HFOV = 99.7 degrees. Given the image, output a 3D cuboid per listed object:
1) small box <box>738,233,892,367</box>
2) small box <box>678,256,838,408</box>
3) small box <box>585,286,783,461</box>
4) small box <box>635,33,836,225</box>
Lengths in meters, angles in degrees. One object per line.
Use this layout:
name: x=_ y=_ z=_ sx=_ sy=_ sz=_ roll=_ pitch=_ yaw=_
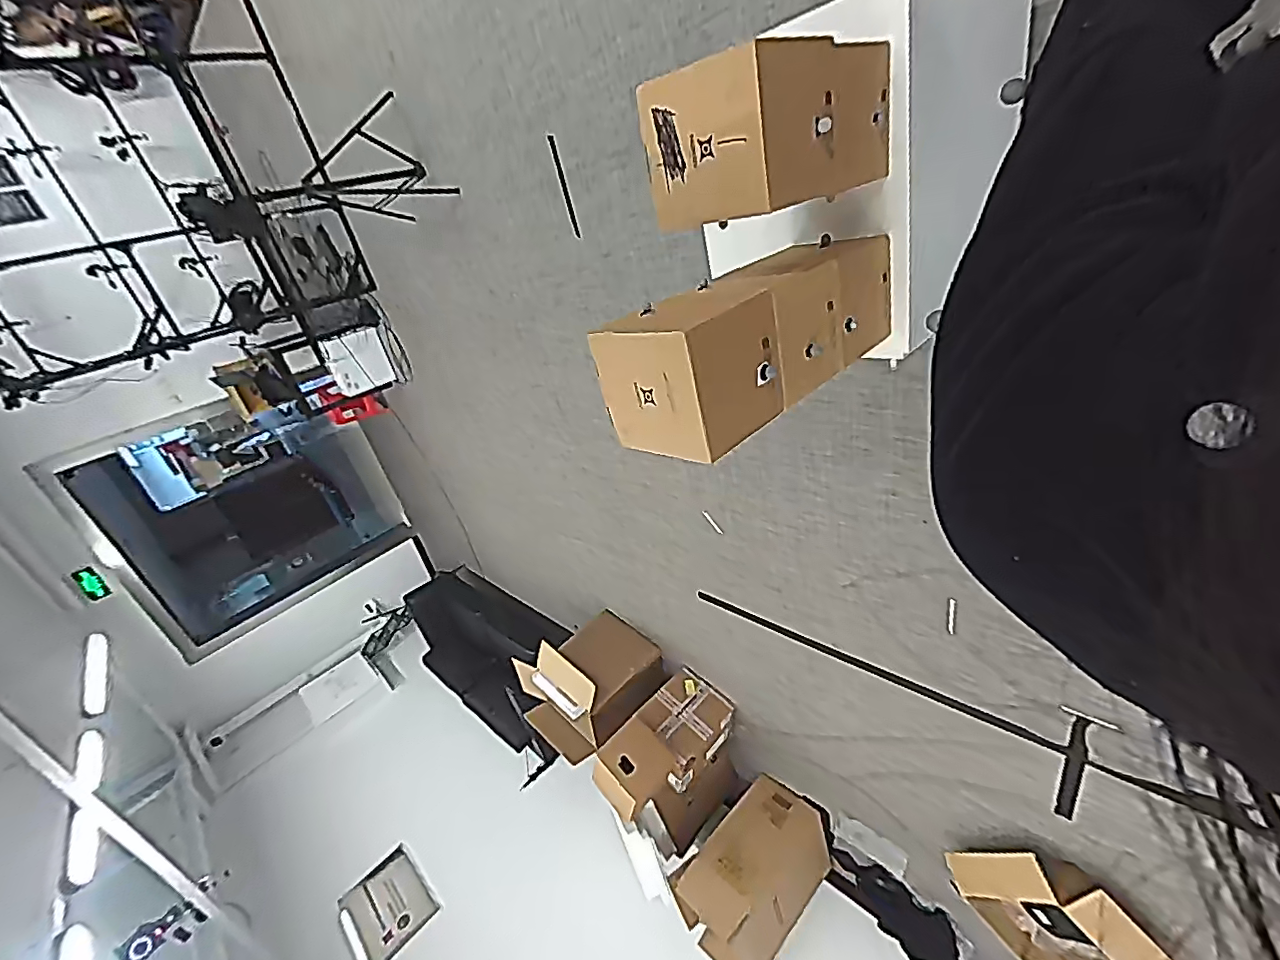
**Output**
small box: x=0.288 y=-0.296 z=0.889 sx=0.179 sy=0.176 sz=0.168 roll=17 pitch=130 yaw=45
small box: x=0.176 y=-0.220 z=0.798 sx=0.179 sy=0.176 sz=0.168 roll=15 pitch=129 yaw=46
small box: x=0.062 y=-0.145 z=0.710 sx=0.179 sy=0.176 sz=0.168 roll=14 pitch=129 yaw=45
small box: x=0.124 y=-0.431 z=0.678 sx=0.179 sy=0.176 sz=0.168 roll=17 pitch=131 yaw=43
